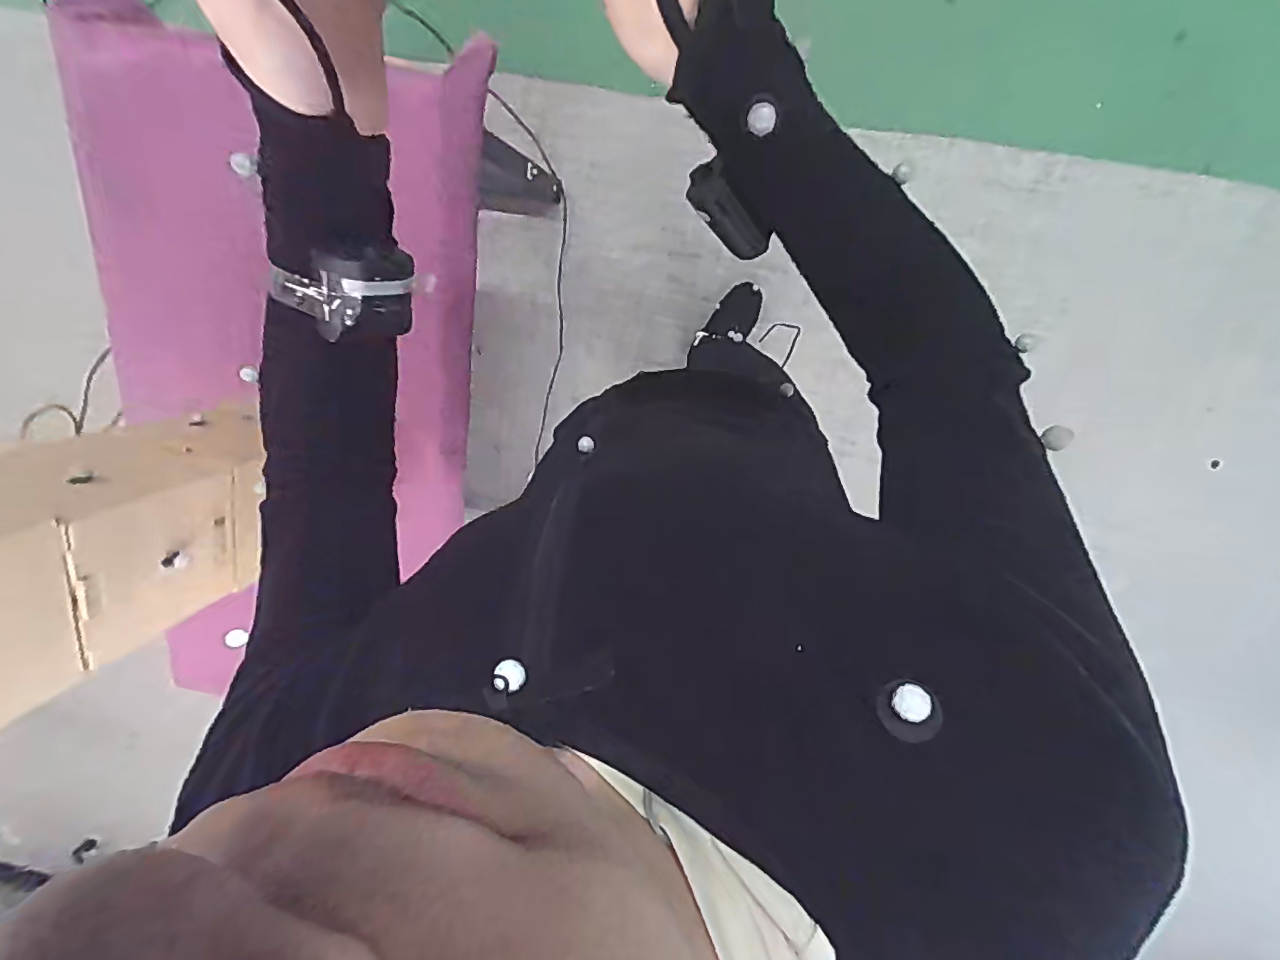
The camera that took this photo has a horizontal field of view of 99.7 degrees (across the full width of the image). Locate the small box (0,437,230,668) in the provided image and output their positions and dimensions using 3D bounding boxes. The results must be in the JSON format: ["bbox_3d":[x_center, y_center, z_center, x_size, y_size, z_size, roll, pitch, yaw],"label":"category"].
[{"bbox_3d":[-0.576,0.063,0.574,0.179,0.176,0.168,14,109,3],"label":"small box"}]

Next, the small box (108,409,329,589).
[{"bbox_3d":[-0.548,0.014,0.727,0.168,0.176,0.179,14,109,3],"label":"small box"}]

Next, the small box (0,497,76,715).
[{"bbox_3d":[-0.602,0.113,0.419,0.168,0.176,0.179,13,108,5],"label":"small box"}]
